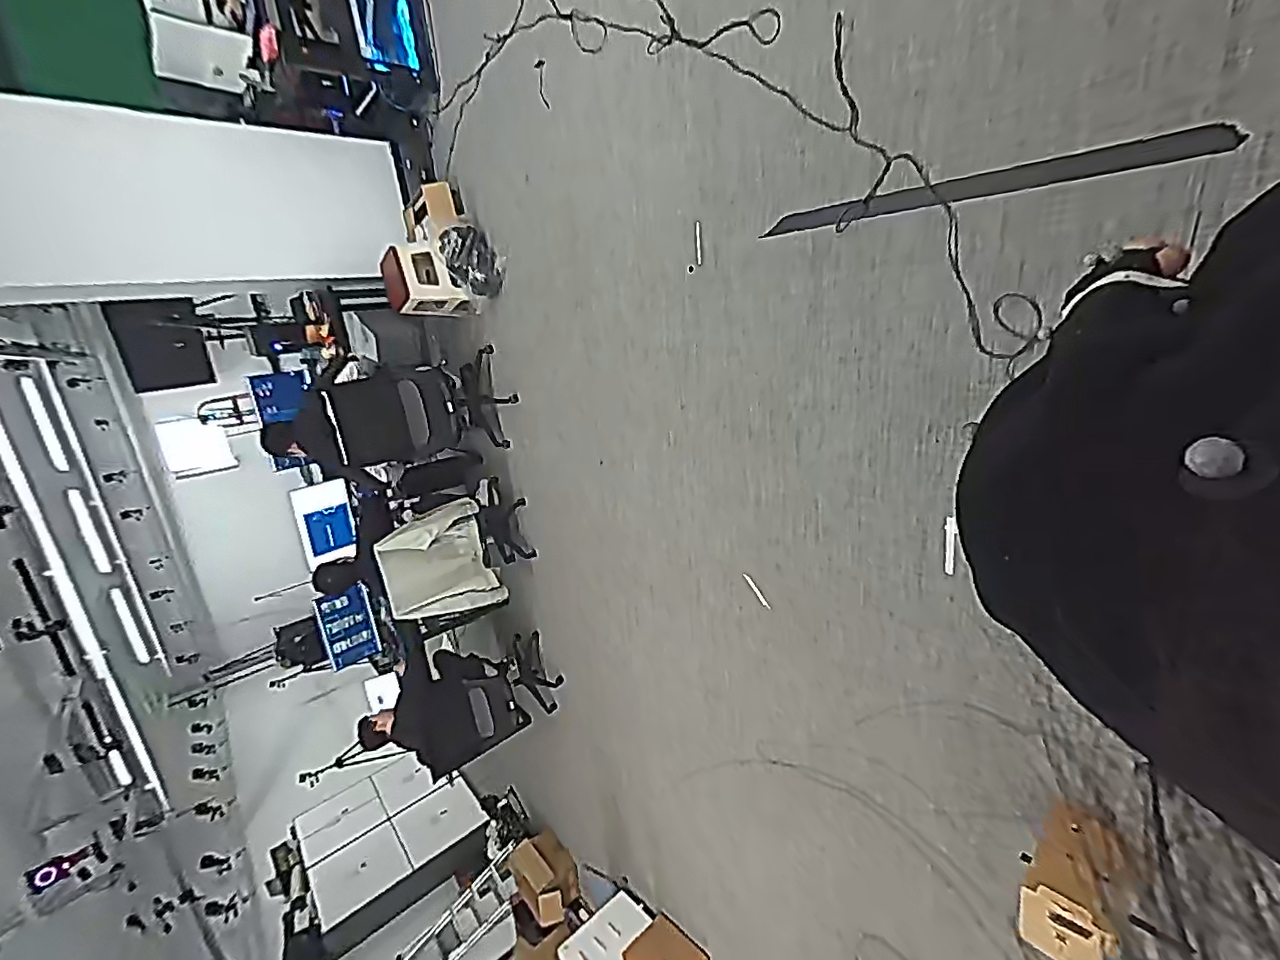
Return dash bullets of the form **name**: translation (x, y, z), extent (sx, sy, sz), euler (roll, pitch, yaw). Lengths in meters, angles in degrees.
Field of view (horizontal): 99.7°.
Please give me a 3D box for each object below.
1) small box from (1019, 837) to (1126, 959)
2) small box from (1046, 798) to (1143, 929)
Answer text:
- **small box**: translation (1.029, 1.009, 1.288), extent (0.168, 0.176, 0.179), euler (10, 114, 50)
- **small box**: translation (1.158, 0.966, 1.383), extent (0.168, 0.176, 0.179), euler (9, 113, 51)
